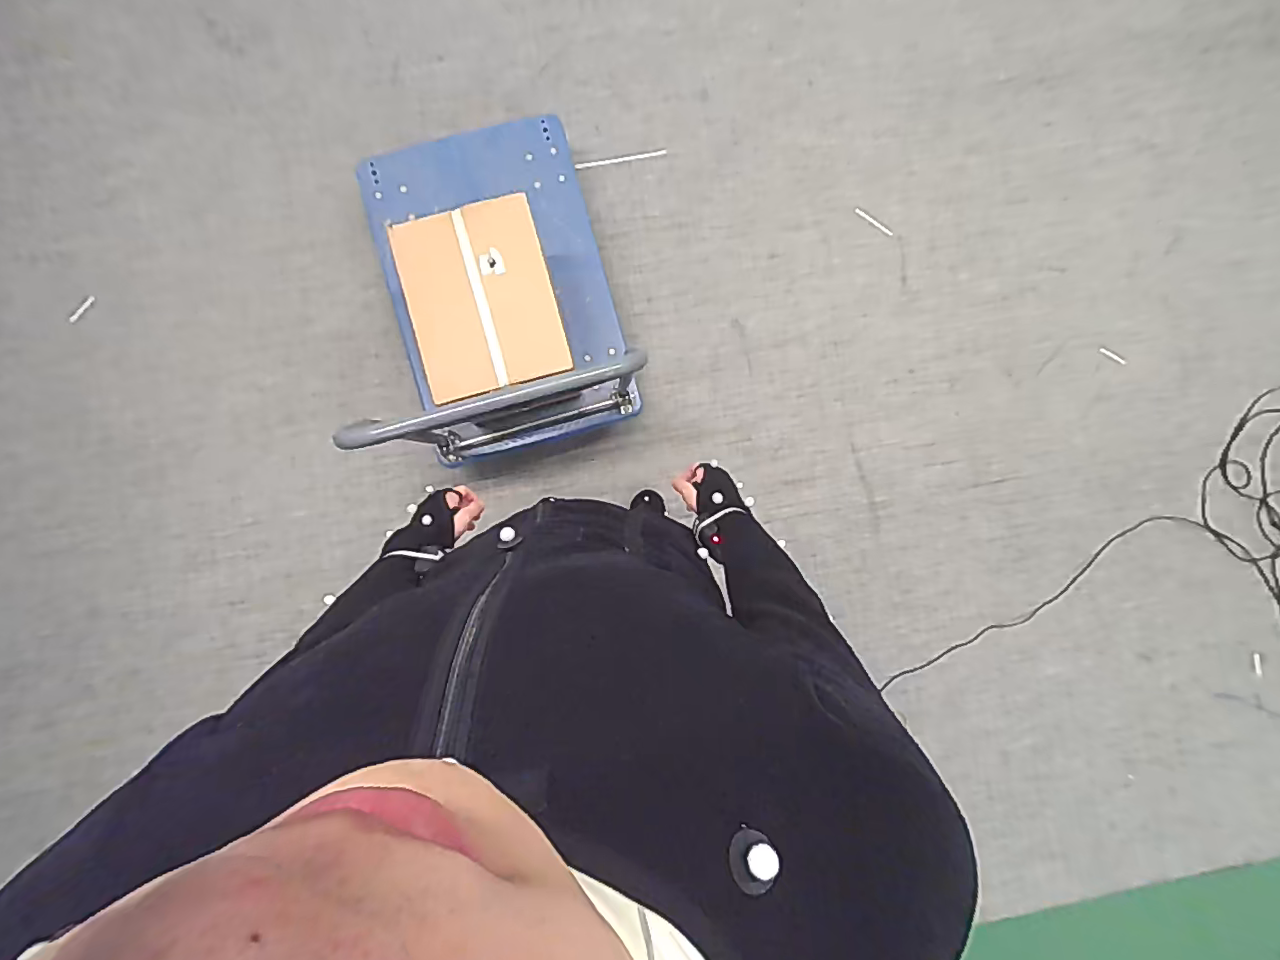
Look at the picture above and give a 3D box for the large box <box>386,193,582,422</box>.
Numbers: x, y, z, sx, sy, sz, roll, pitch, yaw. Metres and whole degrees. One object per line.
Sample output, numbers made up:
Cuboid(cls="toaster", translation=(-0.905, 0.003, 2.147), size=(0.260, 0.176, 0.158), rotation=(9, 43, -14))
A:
Cuboid(cls="large box", translation=(-0.352, -0.392, 1.318), size=(0.320, 0.320, 0.408), rotation=(-16, 88, -3))
